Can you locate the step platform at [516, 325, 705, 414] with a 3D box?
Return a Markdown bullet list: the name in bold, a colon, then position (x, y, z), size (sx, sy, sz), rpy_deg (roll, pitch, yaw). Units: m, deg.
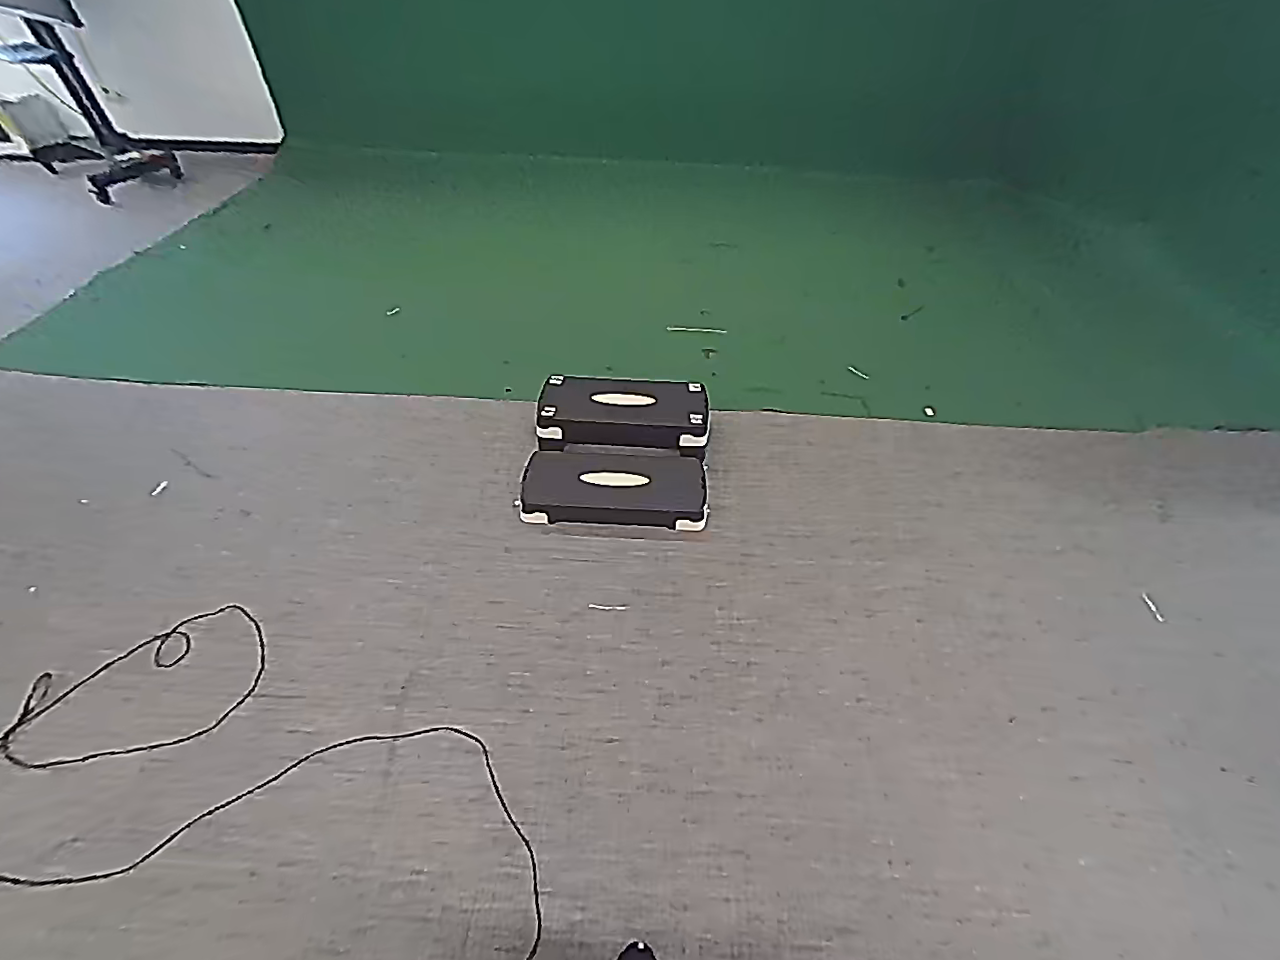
- **step platform**: position (-0.104, -0.414, 2.037), size (0.684, 0.204, 0.286), rpy_deg (3, 47, 1)
